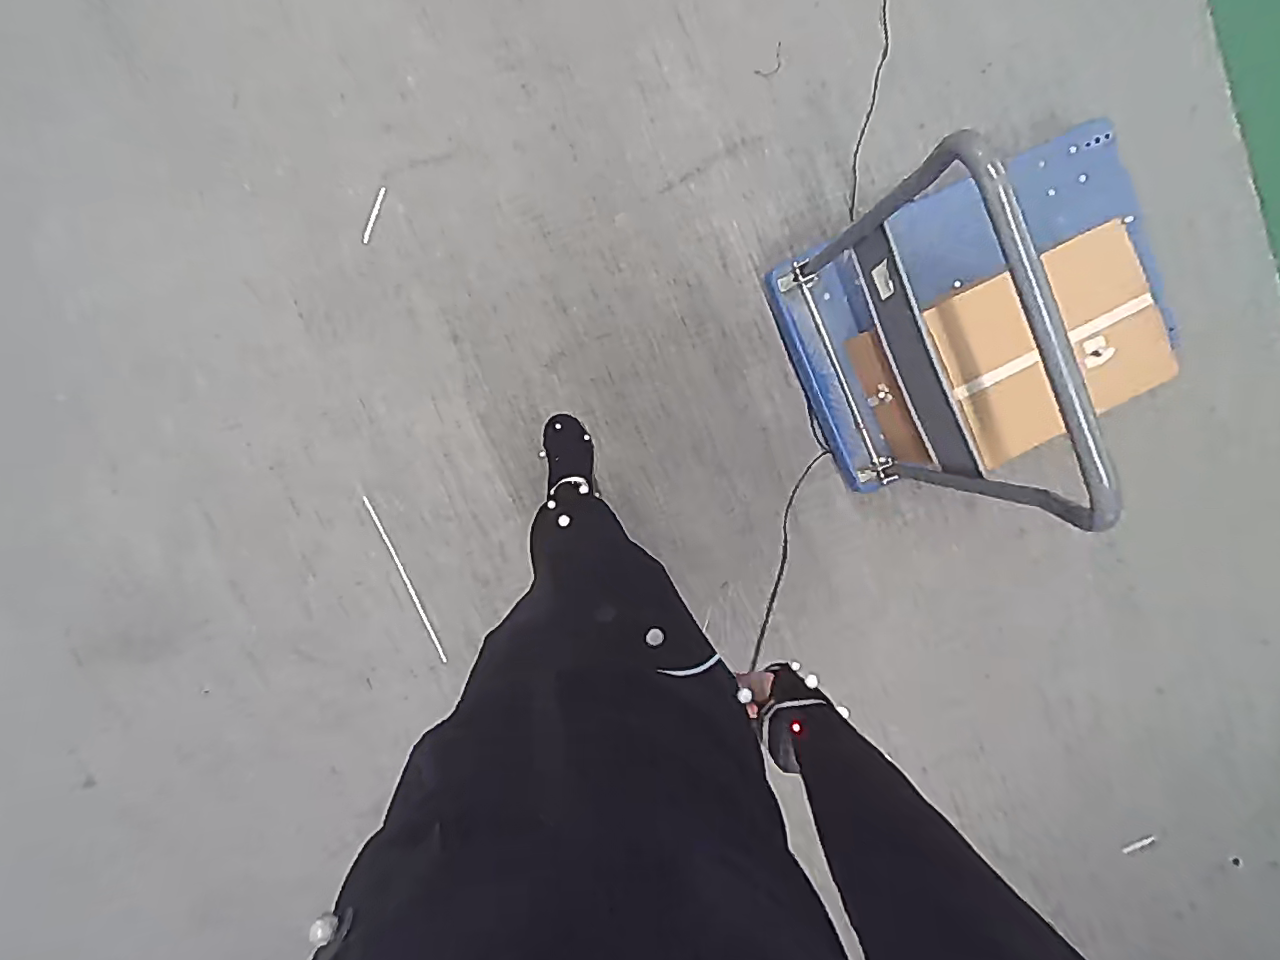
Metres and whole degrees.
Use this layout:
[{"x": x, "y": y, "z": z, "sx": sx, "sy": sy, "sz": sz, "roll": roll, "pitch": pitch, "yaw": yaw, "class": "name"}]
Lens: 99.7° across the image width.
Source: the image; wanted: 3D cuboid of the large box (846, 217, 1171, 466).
[{"x": 0.722, "y": -0.257, "z": 1.118, "sx": 0.408, "sy": 0.320, "sz": 0.320, "roll": -26, "pitch": 97, "yaw": -2, "class": "large box"}]
